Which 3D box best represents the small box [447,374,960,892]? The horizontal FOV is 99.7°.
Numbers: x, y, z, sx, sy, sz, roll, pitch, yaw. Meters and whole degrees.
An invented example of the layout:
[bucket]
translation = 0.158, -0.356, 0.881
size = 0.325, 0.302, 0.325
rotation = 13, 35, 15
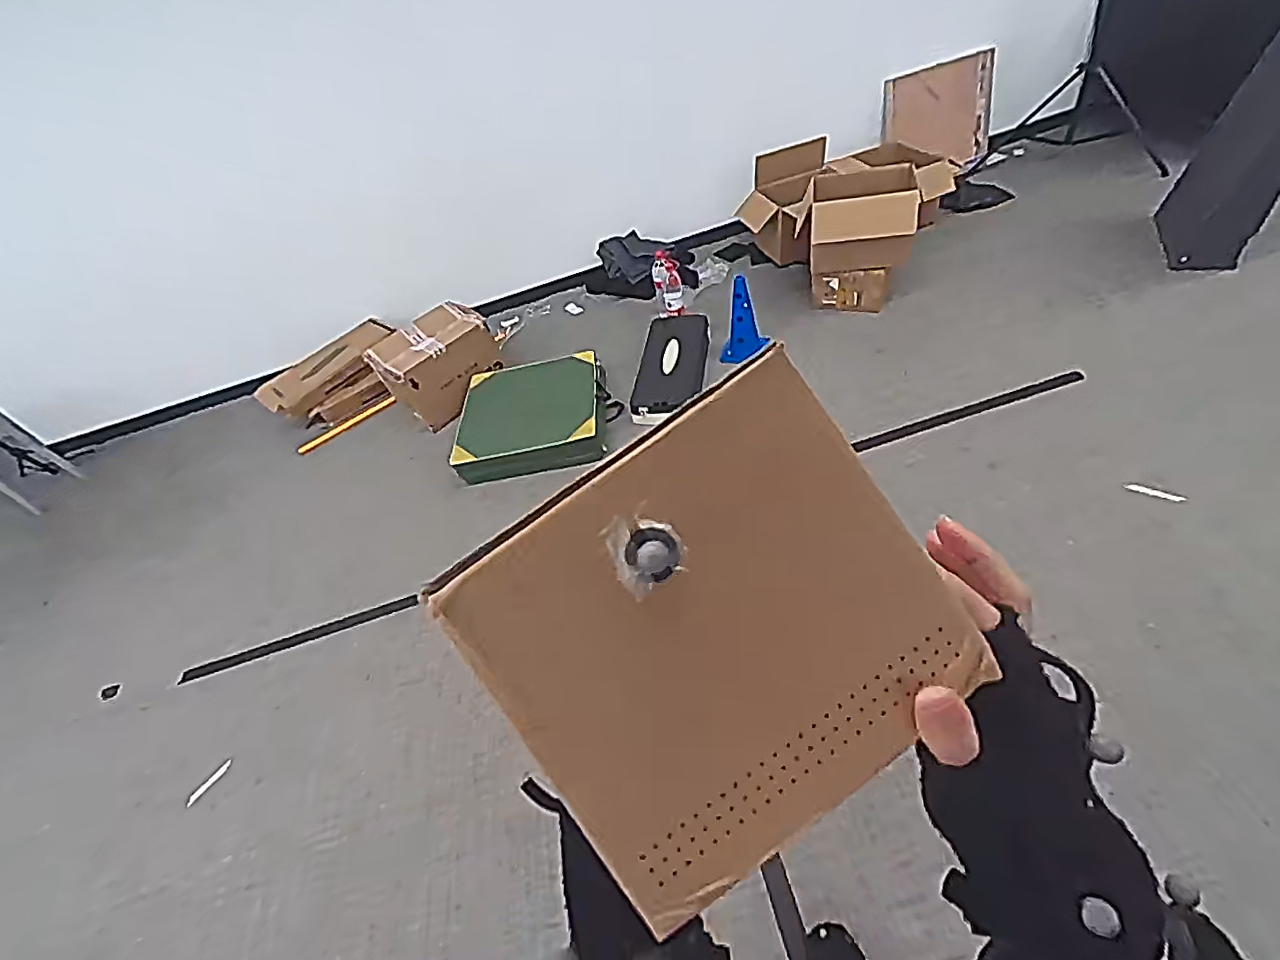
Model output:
[small box]
translation = 0.030, 0.071, 0.310
size = 0.179, 0.168, 0.176
rotation = -35, 92, -5
